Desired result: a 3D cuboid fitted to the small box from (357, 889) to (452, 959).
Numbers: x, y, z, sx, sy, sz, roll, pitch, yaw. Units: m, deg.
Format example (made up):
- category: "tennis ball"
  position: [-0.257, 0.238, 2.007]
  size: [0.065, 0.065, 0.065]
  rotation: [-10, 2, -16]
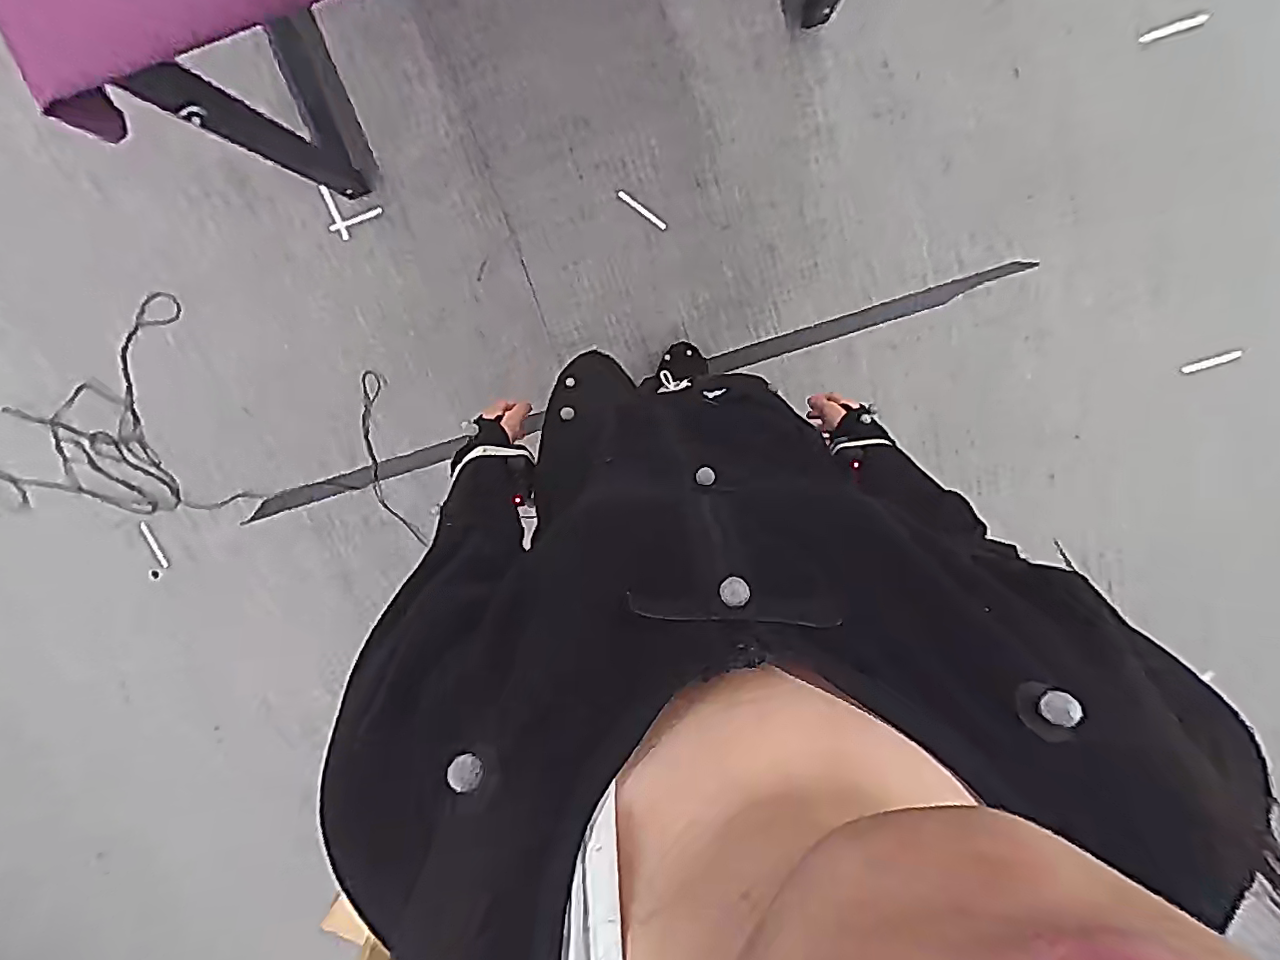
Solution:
- category: "small box"
  position: [-0.624, 1.226, 1.414]
  size: [0.179, 0.176, 0.168]
  rotation: [31, 101, -7]
